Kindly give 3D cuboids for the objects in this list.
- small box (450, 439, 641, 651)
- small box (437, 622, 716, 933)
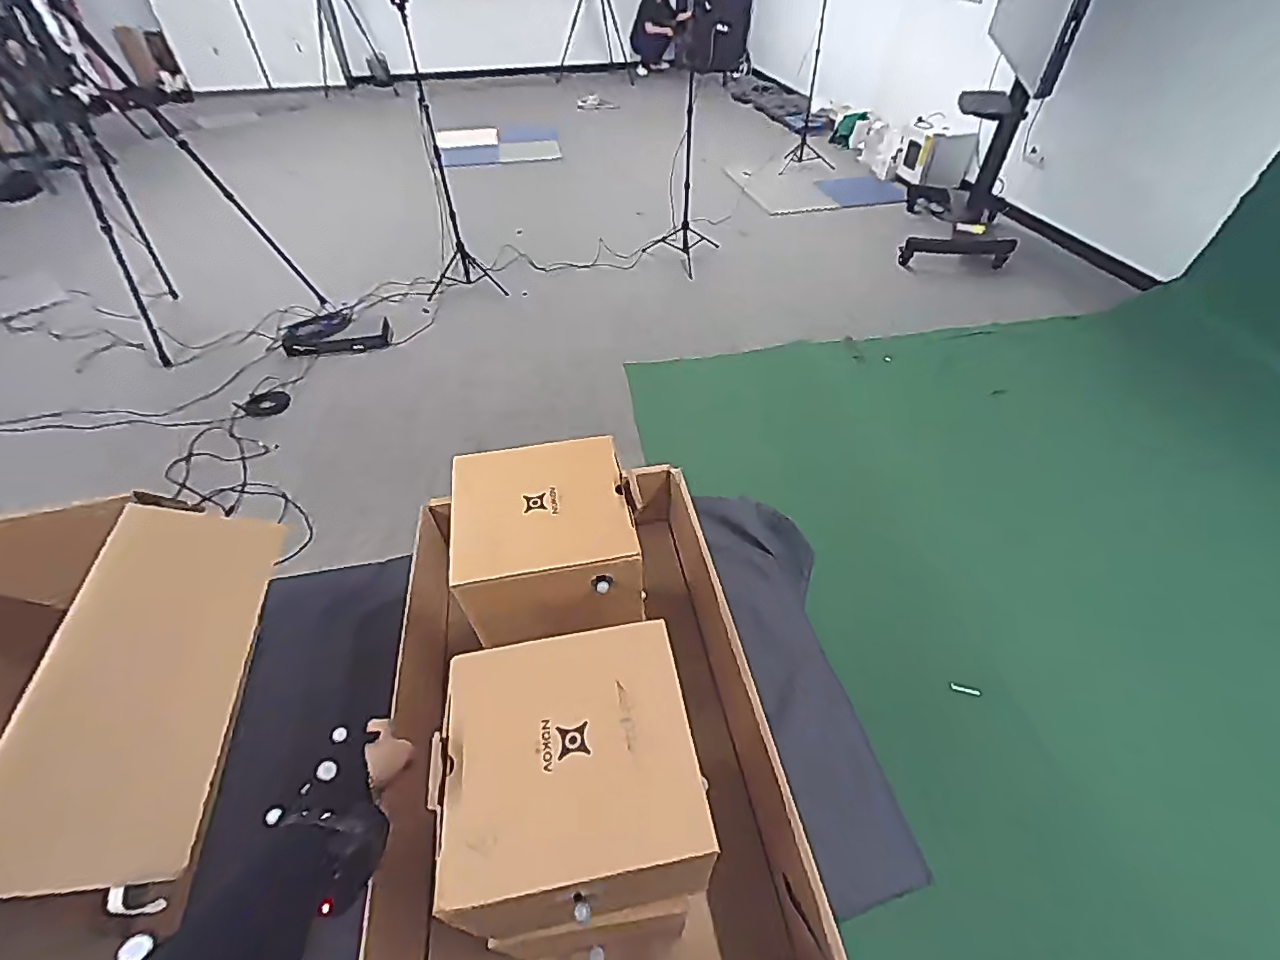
[{"bbox_3d":[-0.098,0.080,0.600,0.179,0.176,0.168,-9,49,-8],"label":"small box"},{"bbox_3d":[-0.047,0.242,0.441,0.179,0.176,0.168,-9,47,-7],"label":"small box"}]
